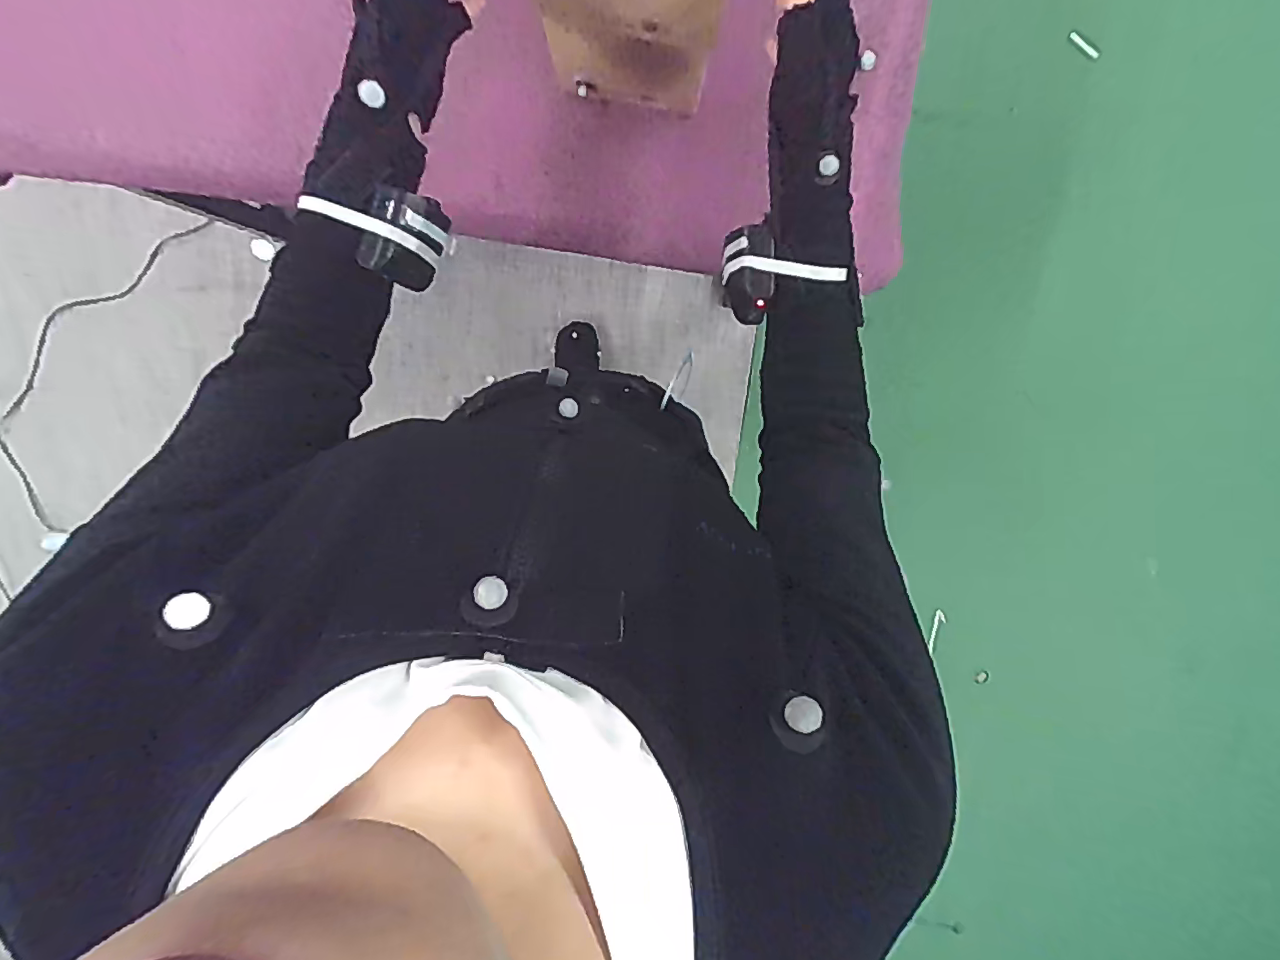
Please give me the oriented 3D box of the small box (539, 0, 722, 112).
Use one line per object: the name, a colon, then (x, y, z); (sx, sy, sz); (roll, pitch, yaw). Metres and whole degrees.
small box: (0.004, -0.512, 0.543); (0.168, 0.176, 0.179); (11, 102, -5)
